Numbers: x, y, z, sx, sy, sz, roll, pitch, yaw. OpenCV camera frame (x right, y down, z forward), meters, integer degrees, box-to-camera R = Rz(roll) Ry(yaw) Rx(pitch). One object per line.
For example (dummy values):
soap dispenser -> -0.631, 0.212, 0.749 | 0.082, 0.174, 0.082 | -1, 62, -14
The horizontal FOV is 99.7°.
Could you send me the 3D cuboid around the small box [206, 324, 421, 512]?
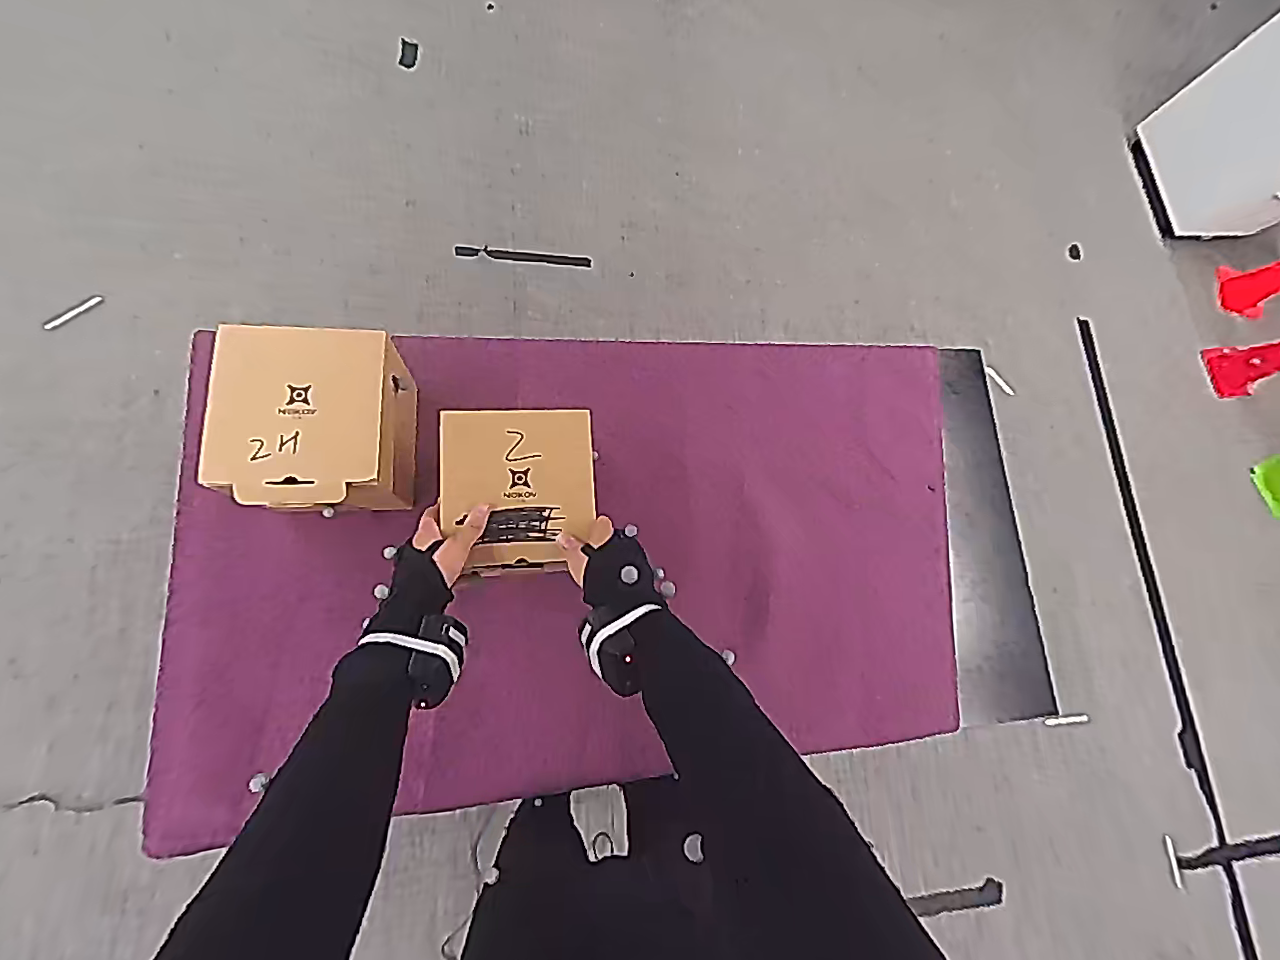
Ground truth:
small box -> -0.364, -0.062, 0.640 | 0.168, 0.176, 0.179 | 0, 78, -11
